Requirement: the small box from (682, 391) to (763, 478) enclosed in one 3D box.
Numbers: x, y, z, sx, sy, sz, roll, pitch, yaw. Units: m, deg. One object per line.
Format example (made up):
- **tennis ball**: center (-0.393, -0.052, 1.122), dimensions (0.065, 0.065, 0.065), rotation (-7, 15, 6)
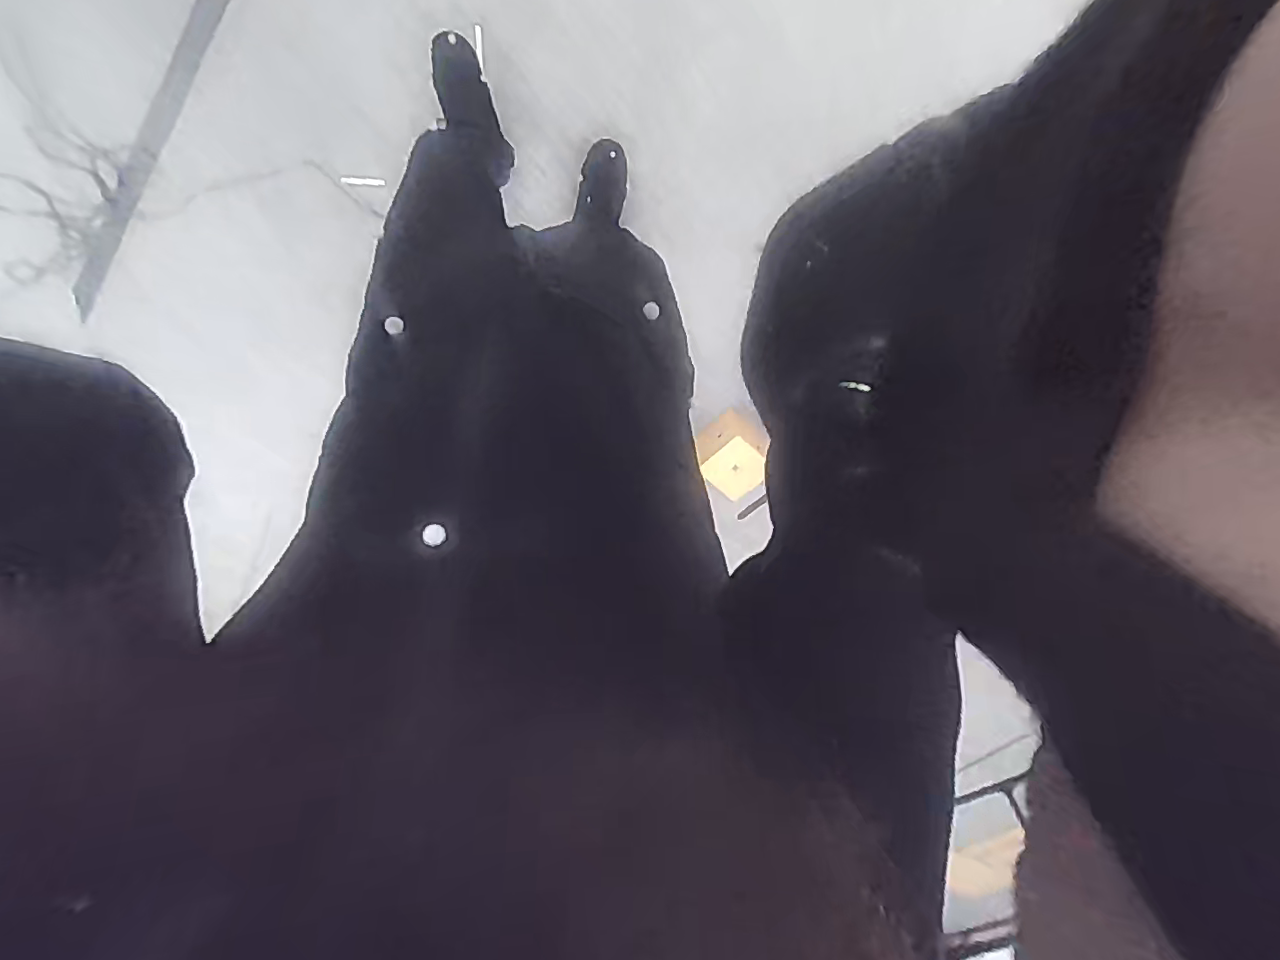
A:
- **small box**: center (0.246, -0.147, 1.656), dimensions (0.179, 0.176, 0.168), rotation (37, 118, -26)
